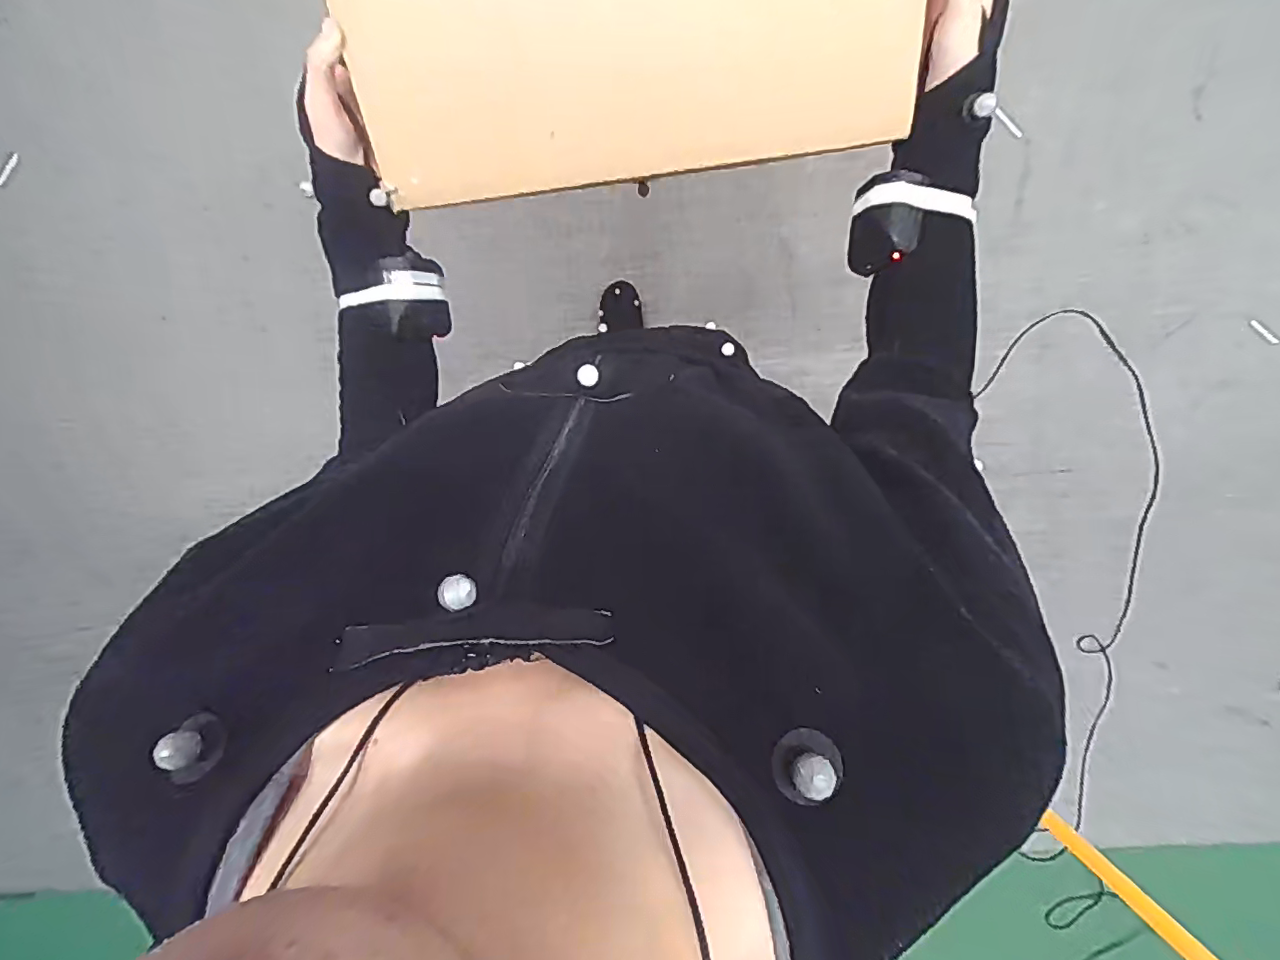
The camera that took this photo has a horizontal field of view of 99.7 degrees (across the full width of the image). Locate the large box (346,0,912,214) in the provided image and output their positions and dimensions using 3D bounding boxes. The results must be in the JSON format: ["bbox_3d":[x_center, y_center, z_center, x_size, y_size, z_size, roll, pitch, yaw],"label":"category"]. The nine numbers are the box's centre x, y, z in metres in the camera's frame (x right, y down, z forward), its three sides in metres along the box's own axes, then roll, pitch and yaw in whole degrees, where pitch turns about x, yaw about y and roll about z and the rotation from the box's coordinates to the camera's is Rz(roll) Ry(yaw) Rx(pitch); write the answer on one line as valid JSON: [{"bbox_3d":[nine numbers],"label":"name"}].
[{"bbox_3d":[-0.012,-0.448,0.489,0.408,0.320,0.320,-6,119,3],"label":"large box"}]
